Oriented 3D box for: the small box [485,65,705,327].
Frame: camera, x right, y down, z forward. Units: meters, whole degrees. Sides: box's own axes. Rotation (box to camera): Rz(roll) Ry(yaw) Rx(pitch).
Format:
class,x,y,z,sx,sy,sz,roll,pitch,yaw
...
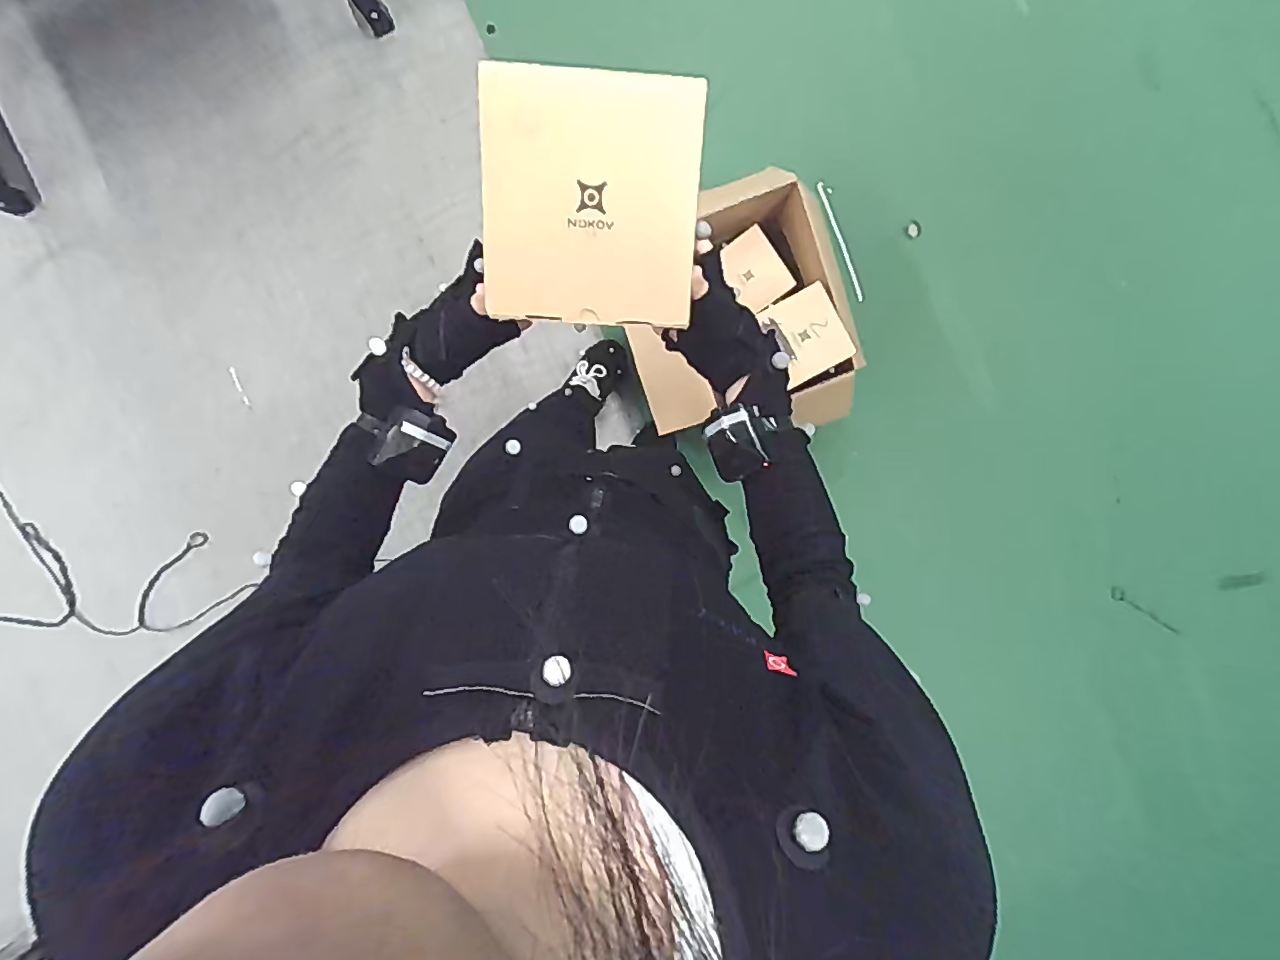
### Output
class,x,y,z,sx,sy,sz,roll,pitch,yaw
small box,-0.043,-0.240,0.498,0.168,0.176,0.179,2,110,-4
